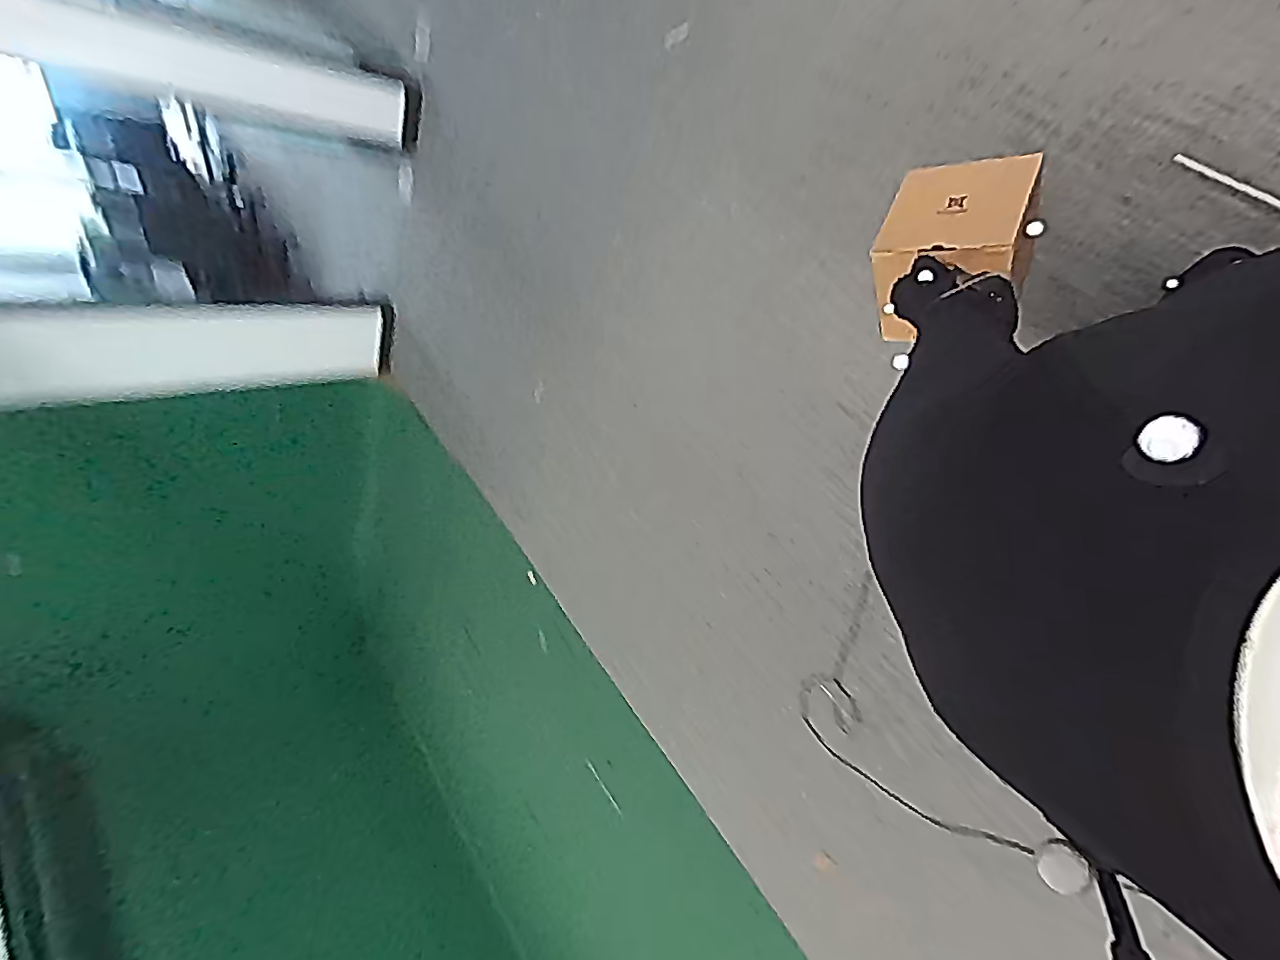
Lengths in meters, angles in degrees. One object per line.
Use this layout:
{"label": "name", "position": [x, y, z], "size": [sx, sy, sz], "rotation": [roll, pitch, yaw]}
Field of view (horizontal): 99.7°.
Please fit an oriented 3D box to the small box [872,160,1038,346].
{"label": "small box", "position": [0.454, -0.320, 0.784], "size": [0.168, 0.176, 0.179], "rotation": [13, 66, 37]}
